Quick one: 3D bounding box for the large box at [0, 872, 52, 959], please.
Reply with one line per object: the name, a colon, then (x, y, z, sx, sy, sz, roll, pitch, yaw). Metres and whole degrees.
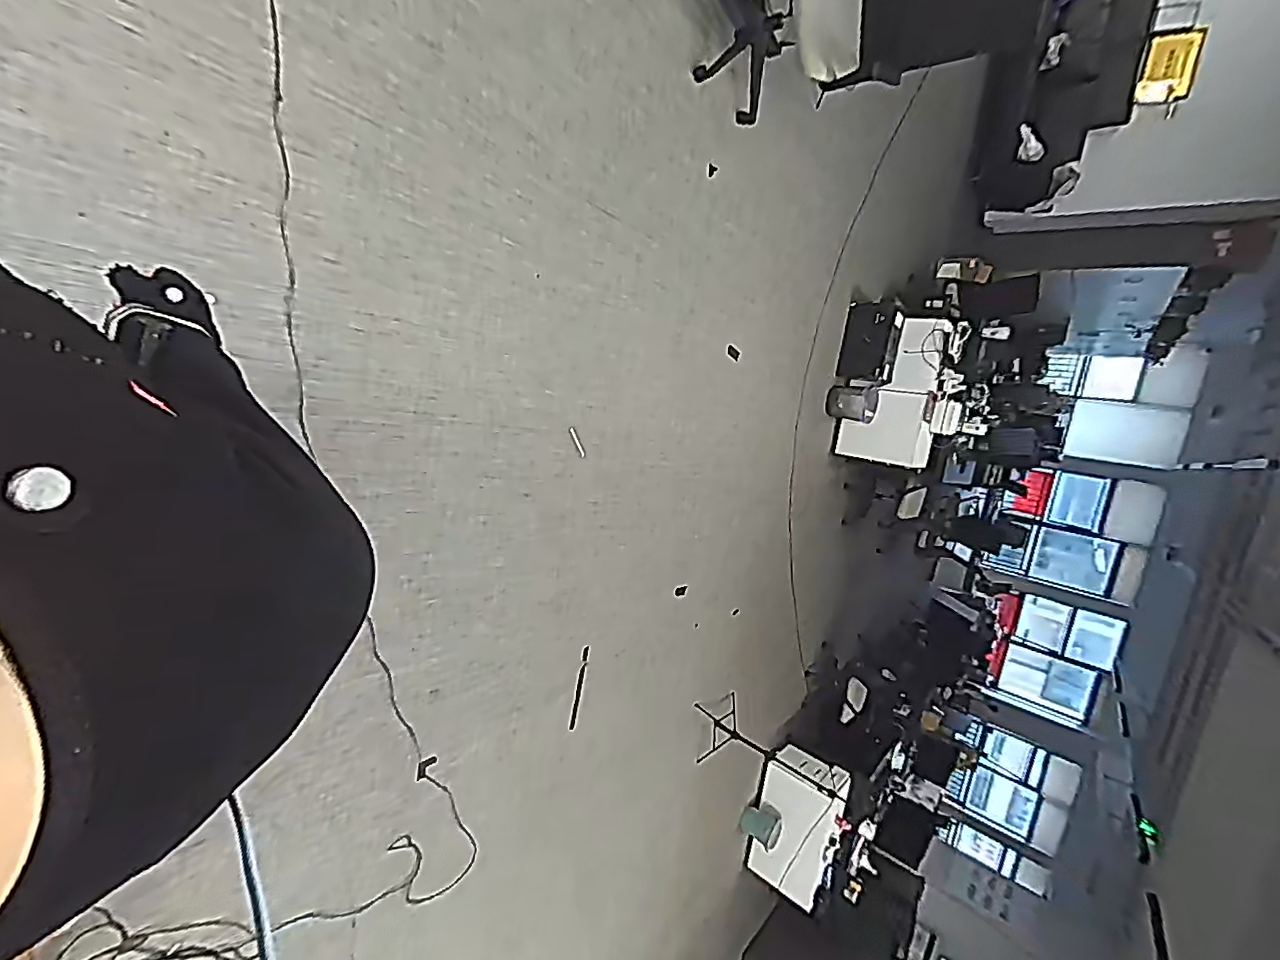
large box: (-1.340, 1.038, 0.955, 0.408, 0.320, 0.320, -14, 113, -49)
